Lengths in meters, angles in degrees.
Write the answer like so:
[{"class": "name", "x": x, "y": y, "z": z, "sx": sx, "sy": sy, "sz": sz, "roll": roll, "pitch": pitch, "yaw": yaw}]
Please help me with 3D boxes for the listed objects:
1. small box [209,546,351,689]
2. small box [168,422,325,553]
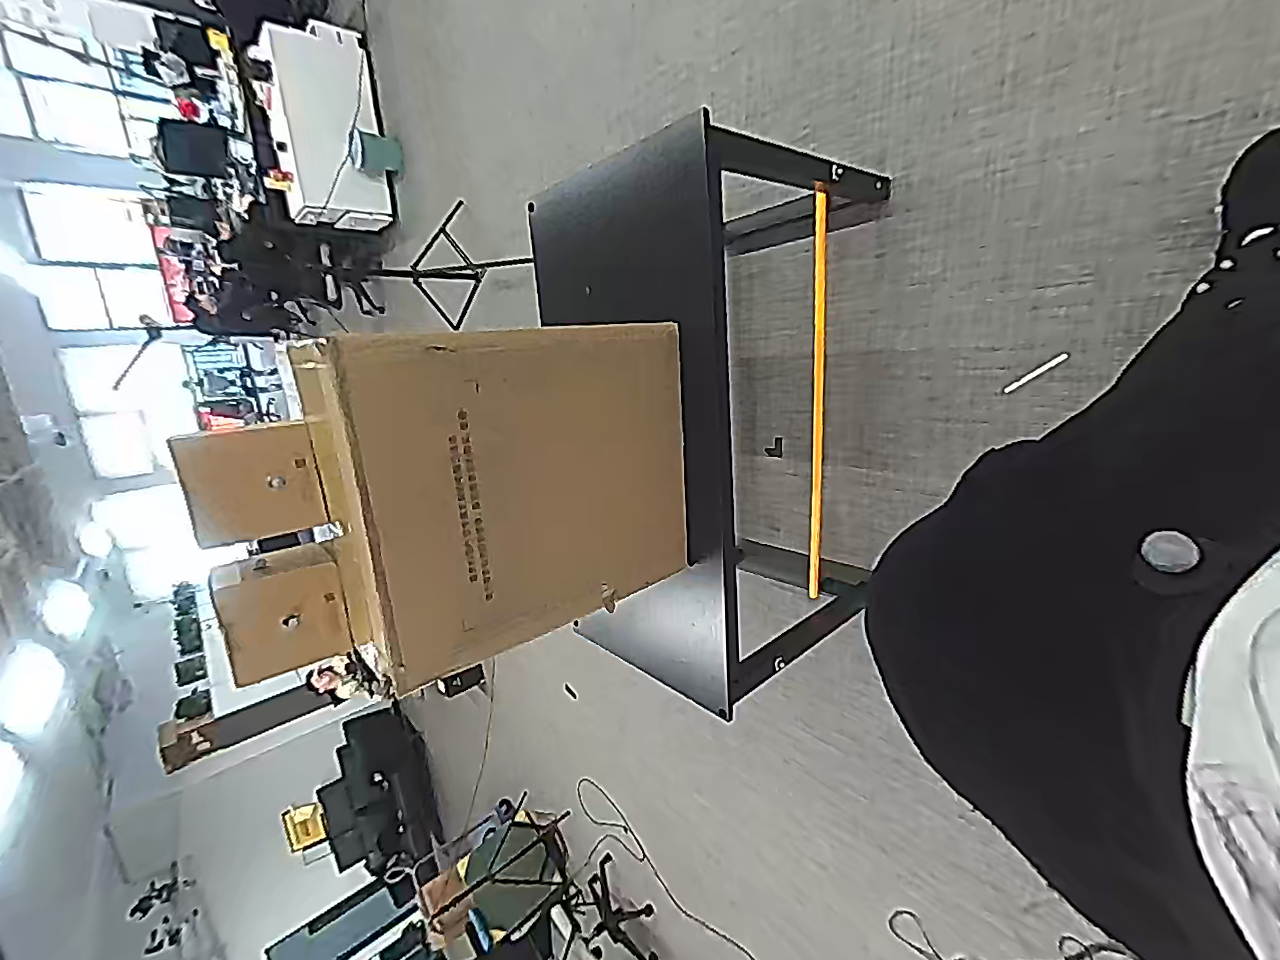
[{"class": "small box", "x": -0.610, "y": 0.221, "z": 0.925, "sx": 0.179, "sy": 0.176, "sz": 0.168, "roll": 6, "pitch": 106, "yaw": 50}, {"class": "small box", "x": -0.621, "y": 0.001, "z": 0.865, "sx": 0.179, "sy": 0.176, "sz": 0.168, "roll": 10, "pitch": 110, "yaw": 51}]
